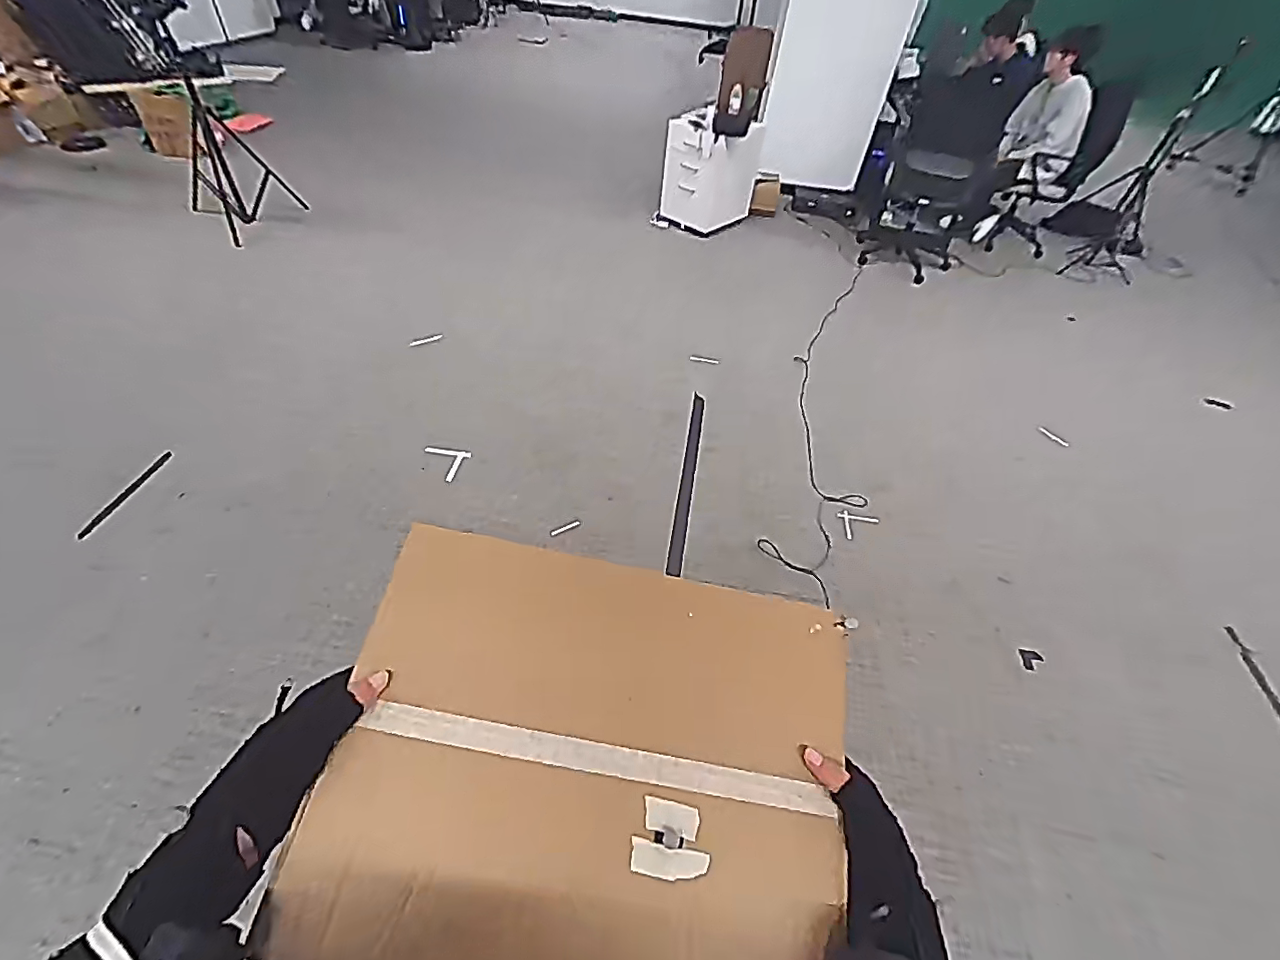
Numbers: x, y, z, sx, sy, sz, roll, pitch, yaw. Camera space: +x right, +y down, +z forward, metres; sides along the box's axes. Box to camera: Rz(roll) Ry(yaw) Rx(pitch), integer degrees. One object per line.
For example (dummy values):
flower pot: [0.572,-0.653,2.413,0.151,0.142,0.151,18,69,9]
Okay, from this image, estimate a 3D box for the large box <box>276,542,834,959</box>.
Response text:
large box: [-0.053,0.294,0.576,0.408,0.320,0.320,12,63,-2]
